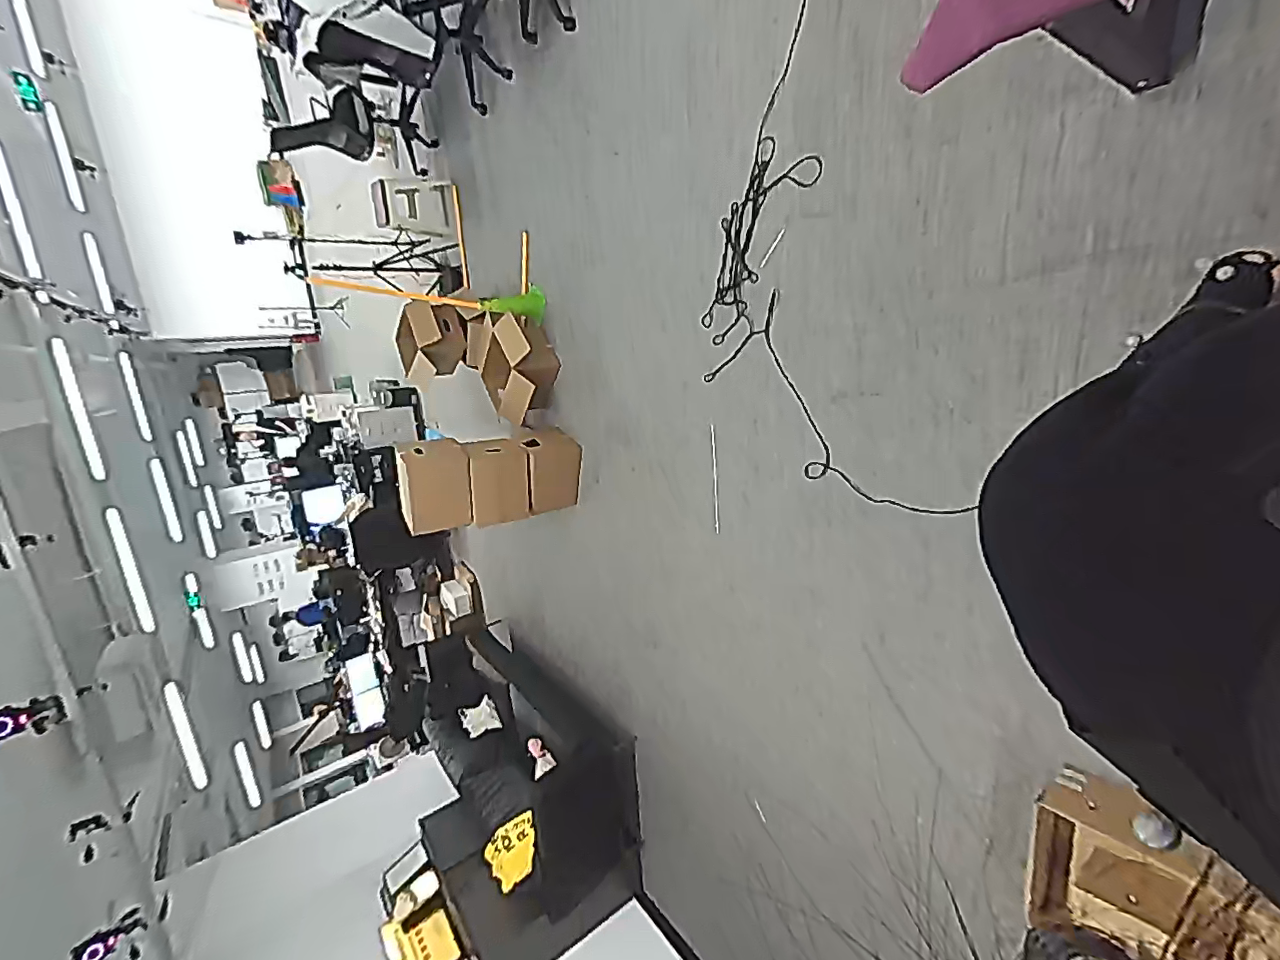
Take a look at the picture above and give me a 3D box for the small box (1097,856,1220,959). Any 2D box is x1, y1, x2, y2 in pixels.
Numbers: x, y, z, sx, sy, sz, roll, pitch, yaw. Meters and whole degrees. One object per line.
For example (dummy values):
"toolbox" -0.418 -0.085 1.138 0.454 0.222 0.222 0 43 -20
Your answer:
"small box" 1.173 1.005 1.221 0.179 0.176 0.168 2 102 56
